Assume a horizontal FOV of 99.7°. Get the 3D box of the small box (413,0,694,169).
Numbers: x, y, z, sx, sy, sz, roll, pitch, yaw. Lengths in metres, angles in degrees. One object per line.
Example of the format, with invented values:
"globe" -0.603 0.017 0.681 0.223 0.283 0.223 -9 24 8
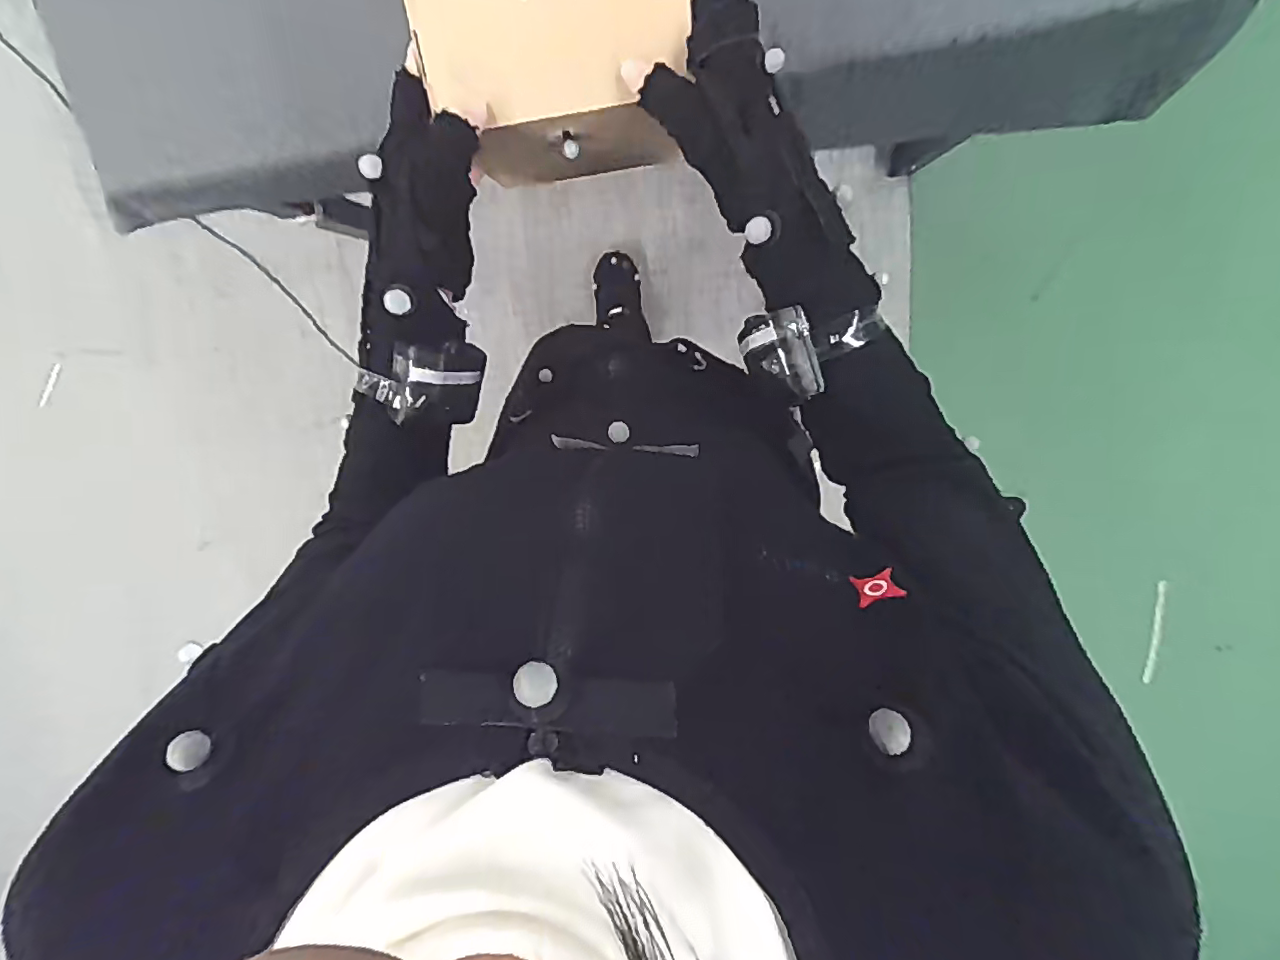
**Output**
"small box" -0.059 -0.354 0.408 0.179 0.176 0.168 -8 108 3
